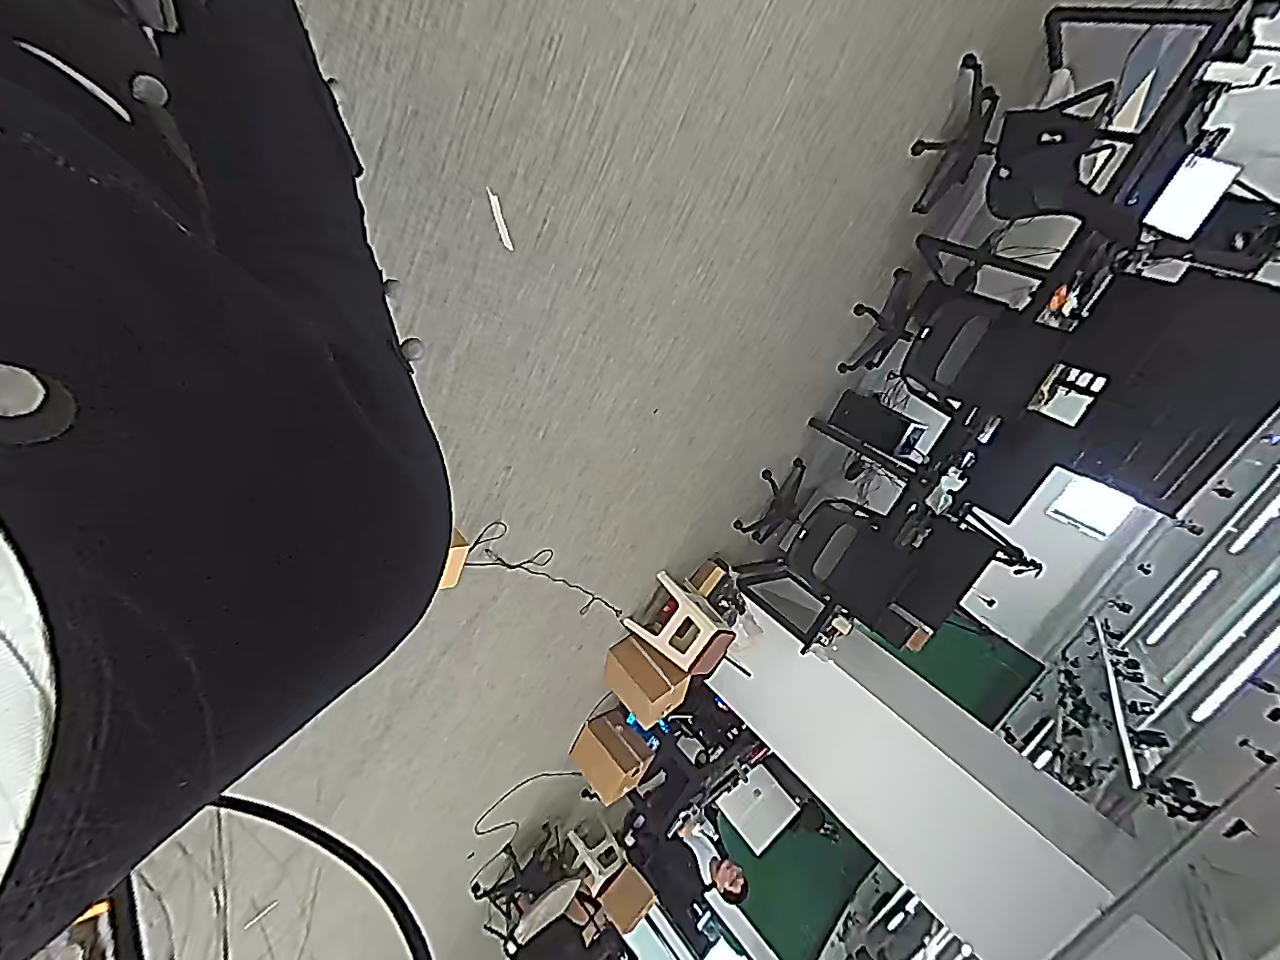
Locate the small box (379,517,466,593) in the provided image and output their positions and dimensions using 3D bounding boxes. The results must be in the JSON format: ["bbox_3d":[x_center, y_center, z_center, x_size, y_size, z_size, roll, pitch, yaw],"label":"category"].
[{"bbox_3d":[-0.688,0.228,1.702,0.179,0.176,0.168,2,119,-51],"label":"small box"}]
